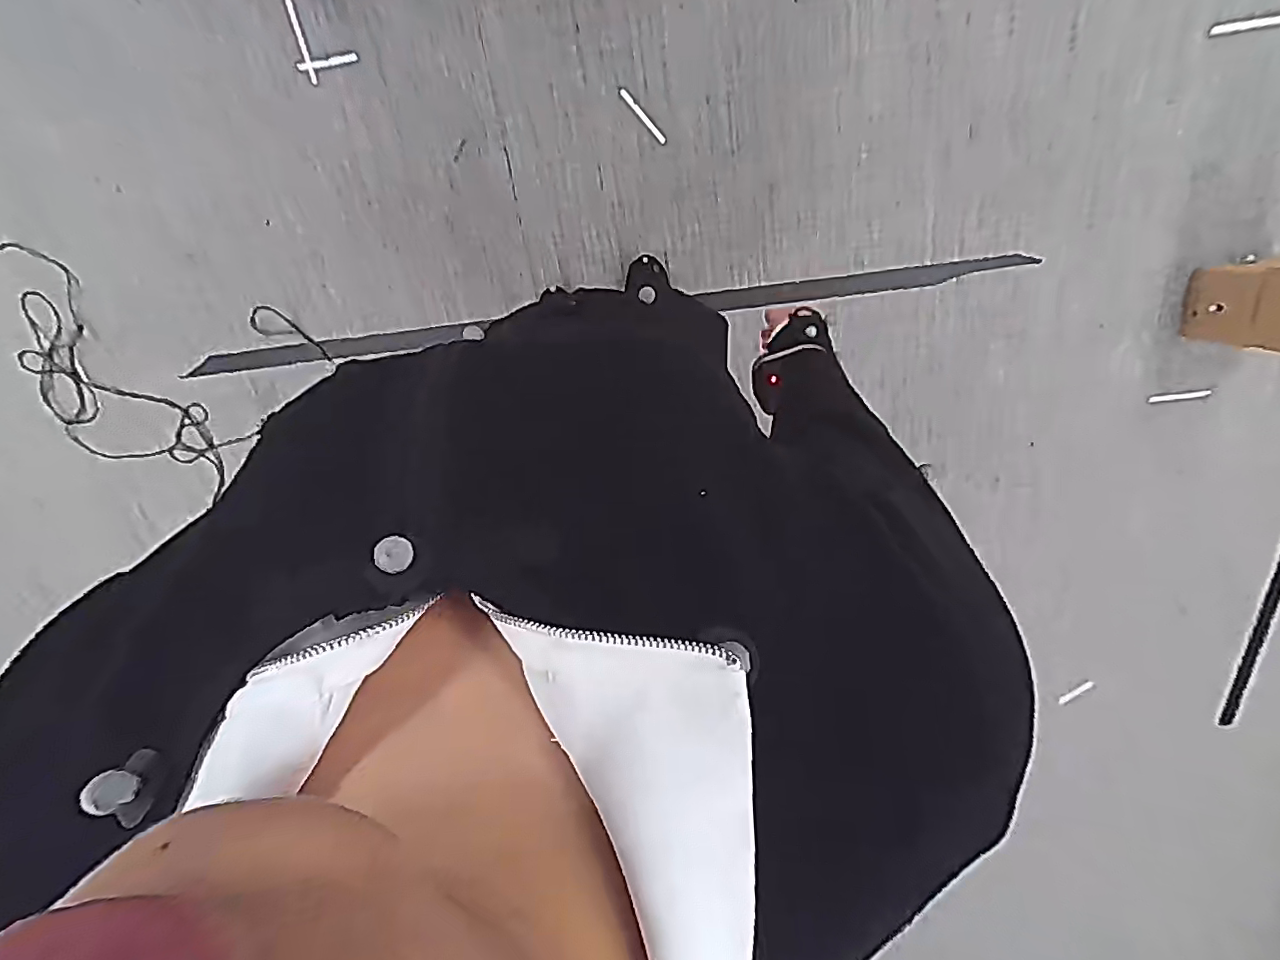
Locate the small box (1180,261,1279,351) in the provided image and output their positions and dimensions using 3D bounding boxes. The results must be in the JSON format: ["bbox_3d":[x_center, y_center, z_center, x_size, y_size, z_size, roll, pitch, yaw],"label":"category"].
[{"bbox_3d":[1.427,-0.407,1.257,0.179,0.176,0.168,-9,112,6],"label":"small box"}]

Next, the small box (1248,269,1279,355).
[{"bbox_3d":[1.419,-0.348,1.102,0.168,0.176,0.179,-9,113,5],"label":"small box"}]
